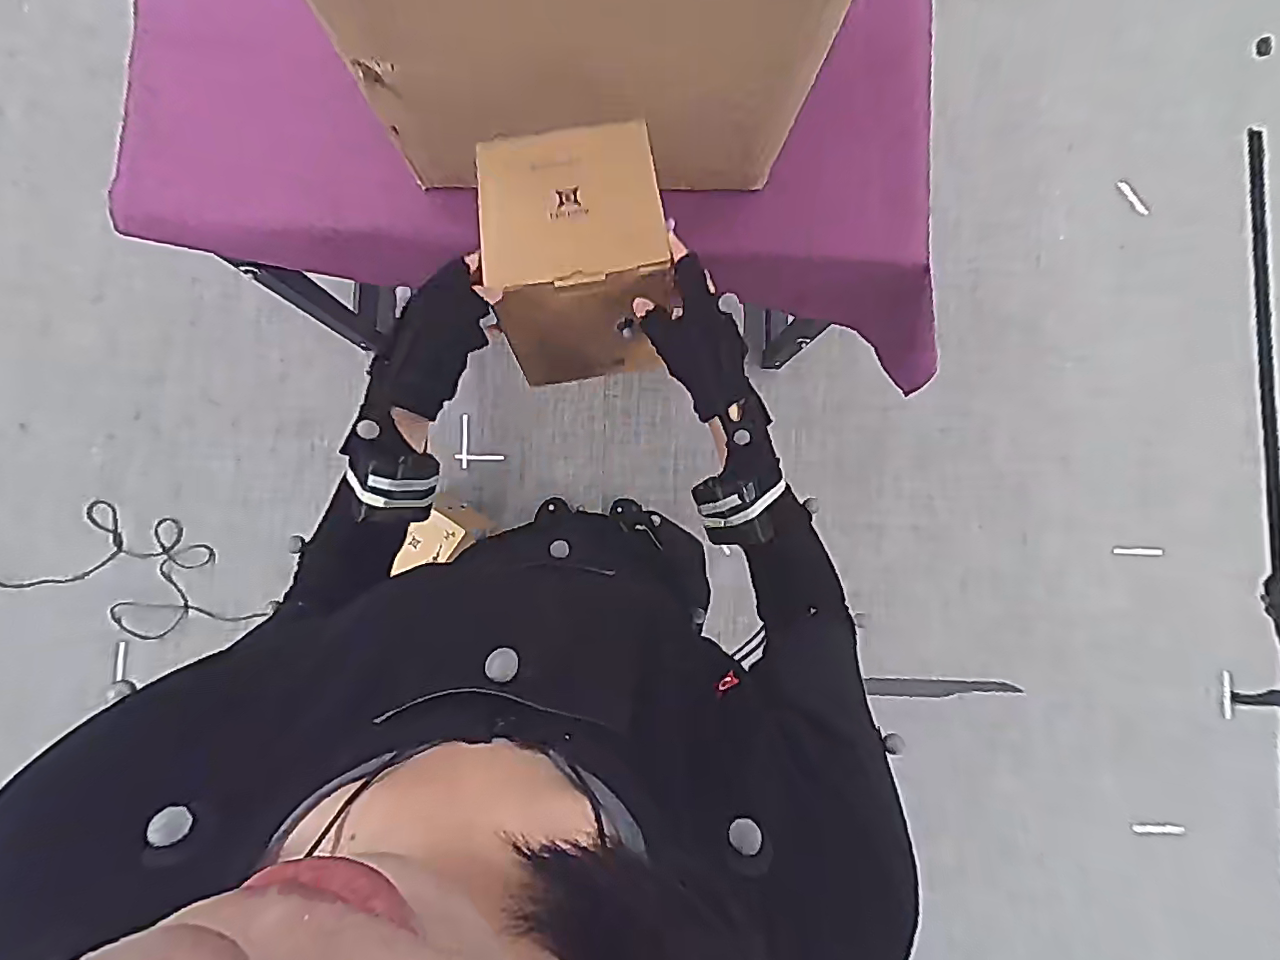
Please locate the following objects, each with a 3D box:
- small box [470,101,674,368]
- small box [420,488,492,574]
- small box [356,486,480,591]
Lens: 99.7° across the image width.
[{"bbox_3d":[-0.059,-0.228,0.543,0.168,0.176,0.179,-9,71,-1],"label":"small box"},{"bbox_3d":[-0.514,0.139,1.408,0.179,0.176,0.168,33,86,-2],"label":"small box"},{"bbox_3d":[-0.501,0.134,1.245,0.179,0.176,0.168,34,85,-1],"label":"small box"}]
